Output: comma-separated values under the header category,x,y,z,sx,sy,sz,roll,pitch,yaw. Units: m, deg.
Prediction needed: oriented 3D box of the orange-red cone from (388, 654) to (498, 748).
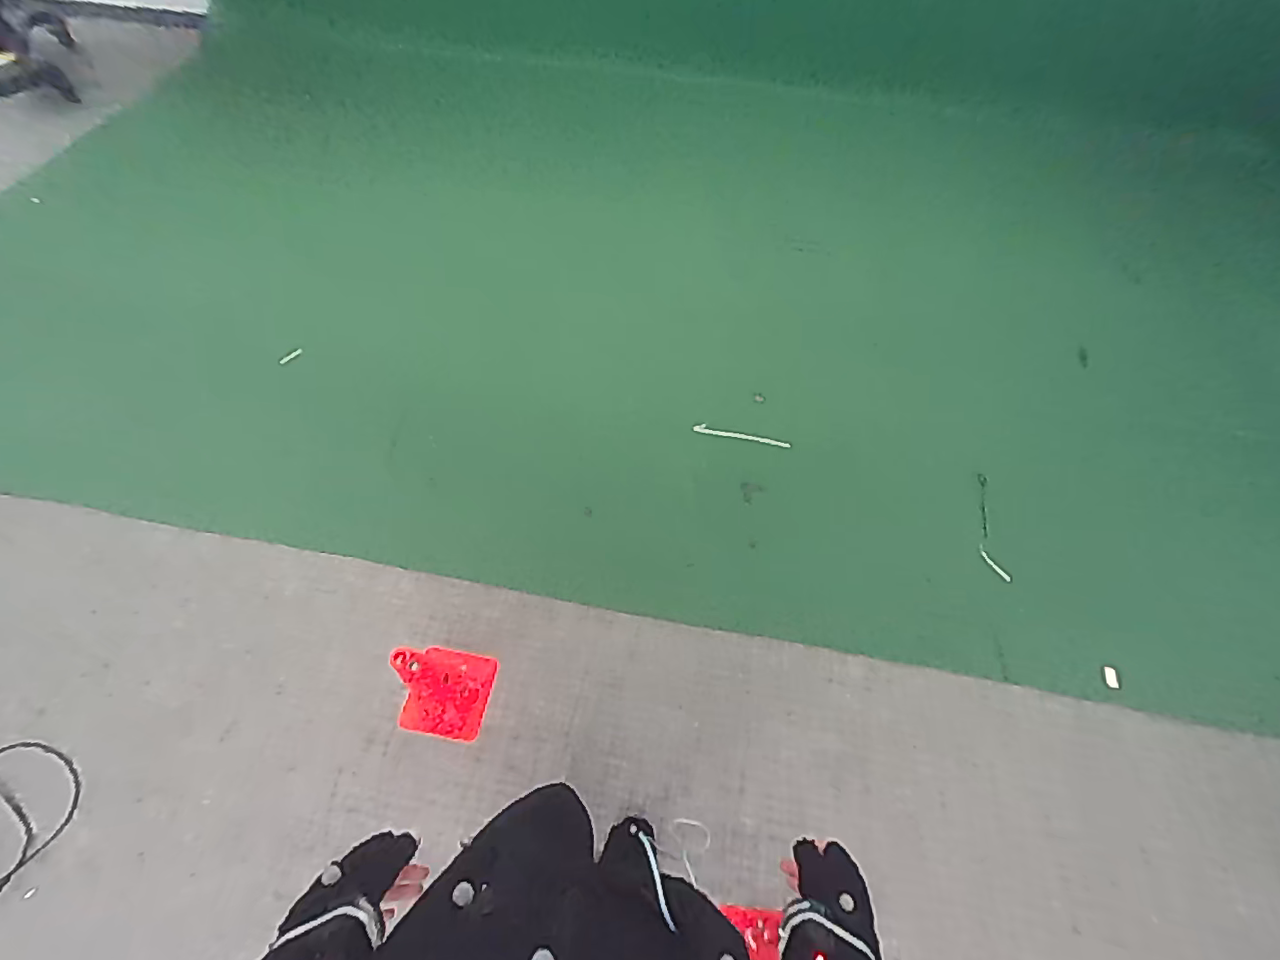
category,x,y,z,sx,sy,sz,roll,pitch,yaw
orange-red cone,-0.470,0.455,1.199,0.198,0.360,0.199,9,59,6

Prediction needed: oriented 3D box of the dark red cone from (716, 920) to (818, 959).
category,x,y,z,sx,sy,sz,roll,pitch,yaw
dark red cone,0.251,0.896,0.910,0.202,0.394,0.201,5,57,2
